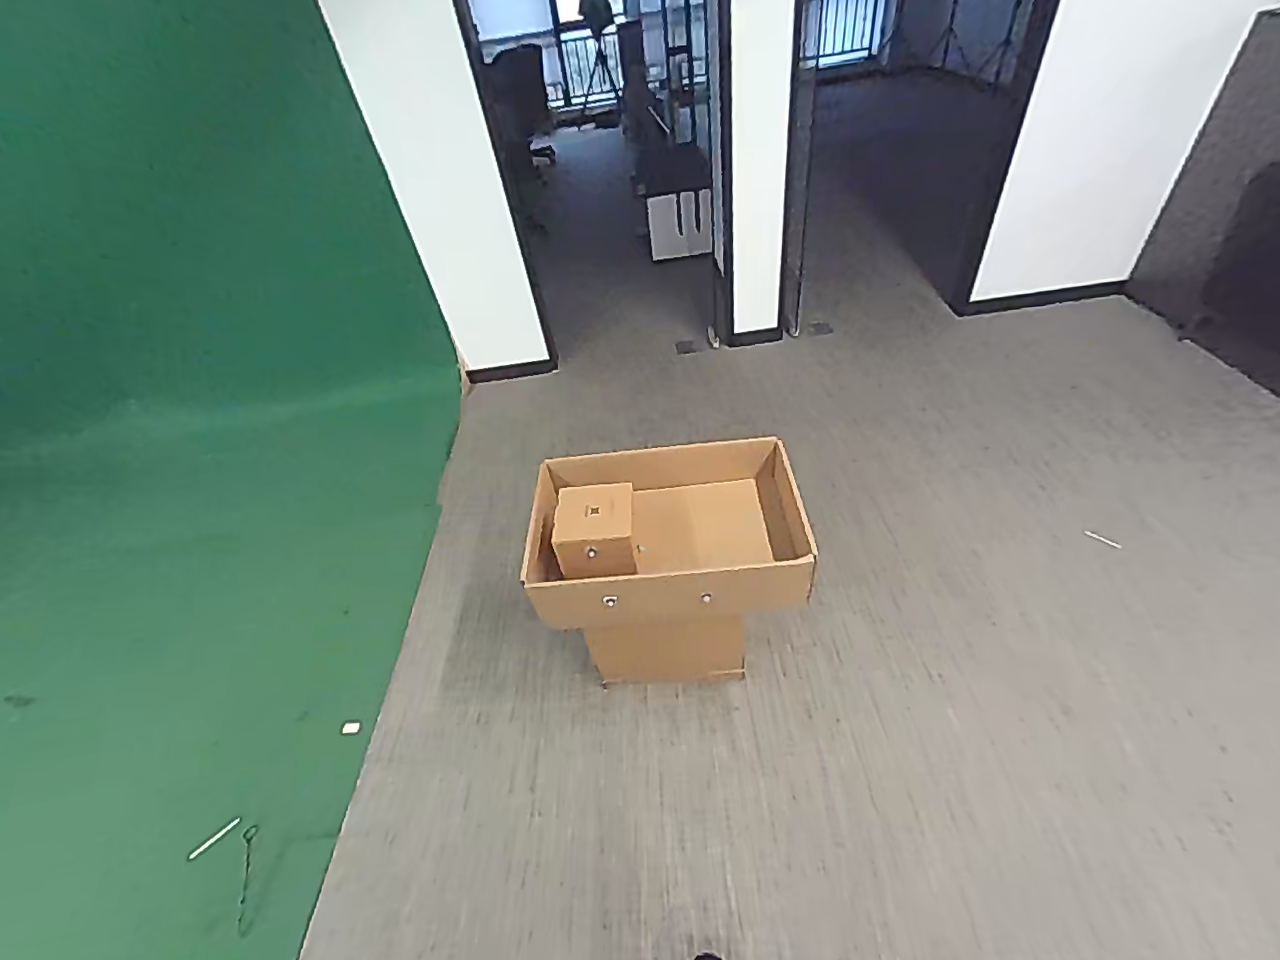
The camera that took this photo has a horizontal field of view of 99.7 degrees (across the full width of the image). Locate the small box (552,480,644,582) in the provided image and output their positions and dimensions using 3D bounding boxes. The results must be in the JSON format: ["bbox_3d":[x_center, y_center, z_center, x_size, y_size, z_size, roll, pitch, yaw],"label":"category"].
[{"bbox_3d":[-0.091,0.123,1.262,0.179,0.176,0.168,-6,44,6],"label":"small box"}]
